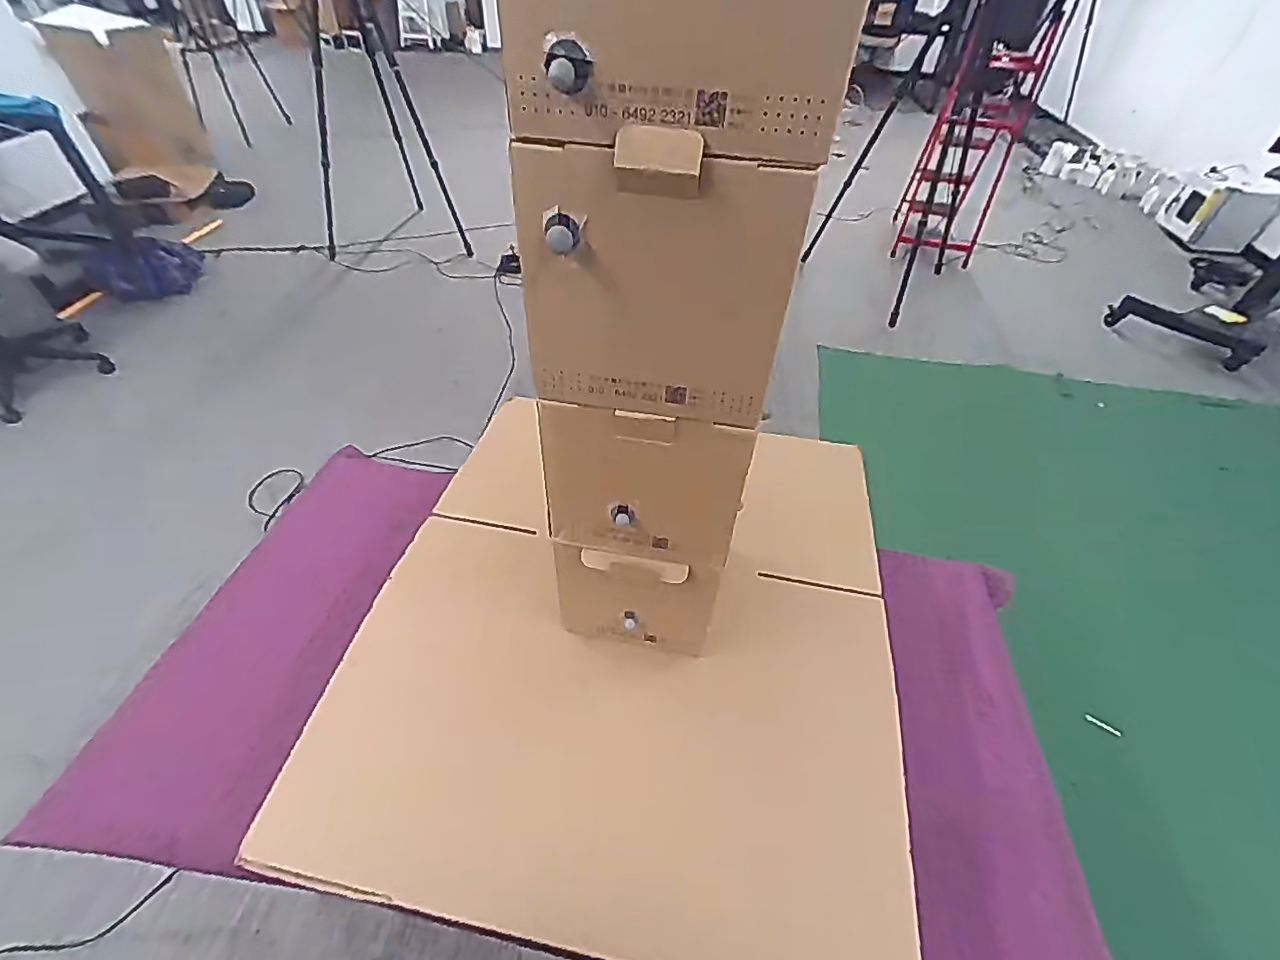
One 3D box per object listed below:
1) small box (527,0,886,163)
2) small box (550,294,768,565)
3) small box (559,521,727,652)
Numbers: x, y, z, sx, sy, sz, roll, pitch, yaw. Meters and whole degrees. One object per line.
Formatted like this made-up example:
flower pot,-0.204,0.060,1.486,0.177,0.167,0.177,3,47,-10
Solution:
small box,0.037,-0.283,0.280,0.168,0.176,0.179,6,46,2
small box,0.020,-0.048,0.509,0.168,0.176,0.179,9,45,5
small box,0.012,0.067,0.624,0.168,0.176,0.179,10,45,6
